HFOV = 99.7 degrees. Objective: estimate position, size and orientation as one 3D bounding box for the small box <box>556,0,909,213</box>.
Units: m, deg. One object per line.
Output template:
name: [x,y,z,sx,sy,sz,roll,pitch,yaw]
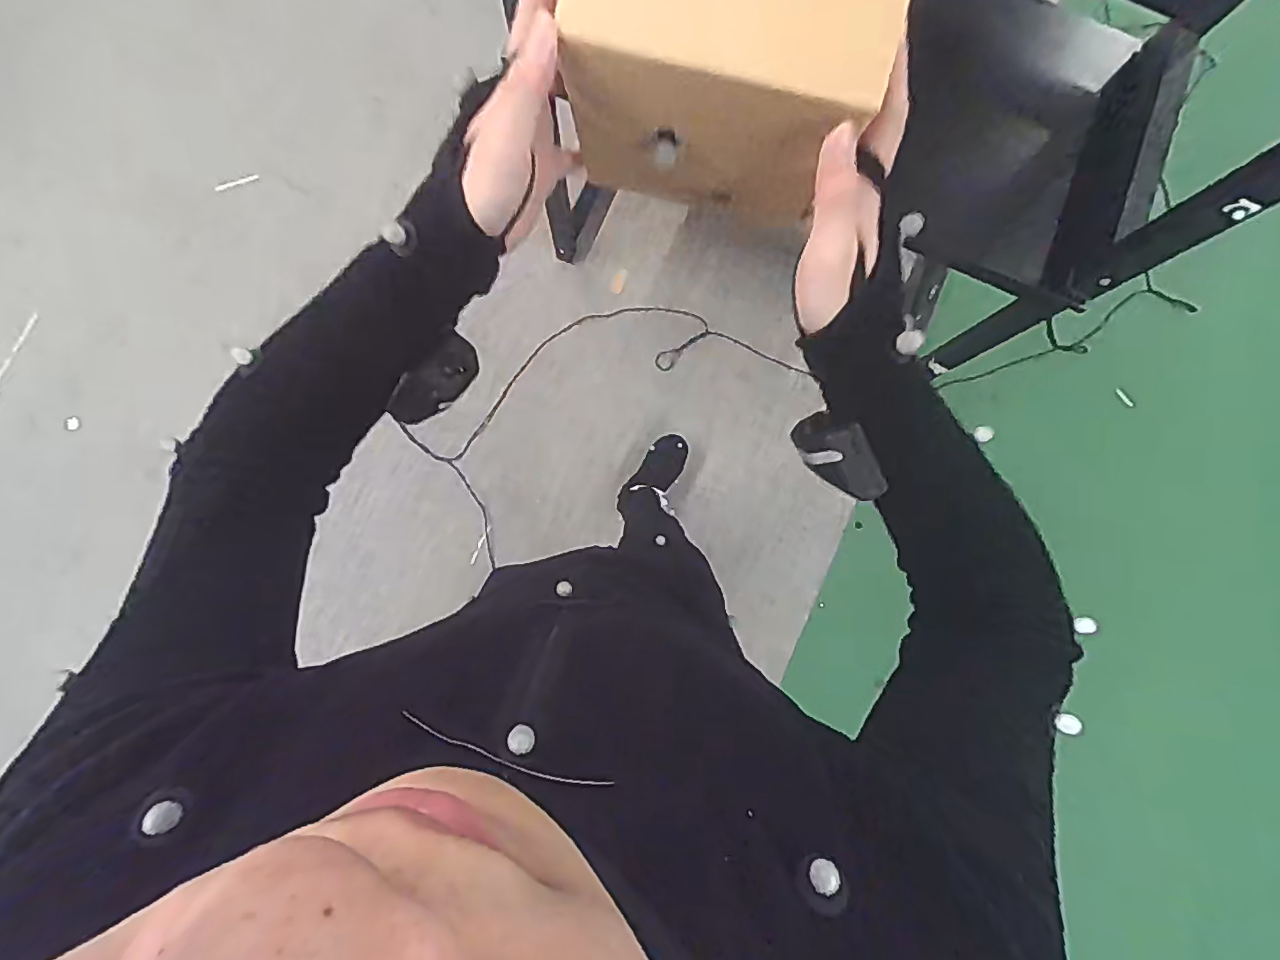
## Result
small box: [0.059,-0.291,0.328,0.168,0.176,0.179,13,96,0]
